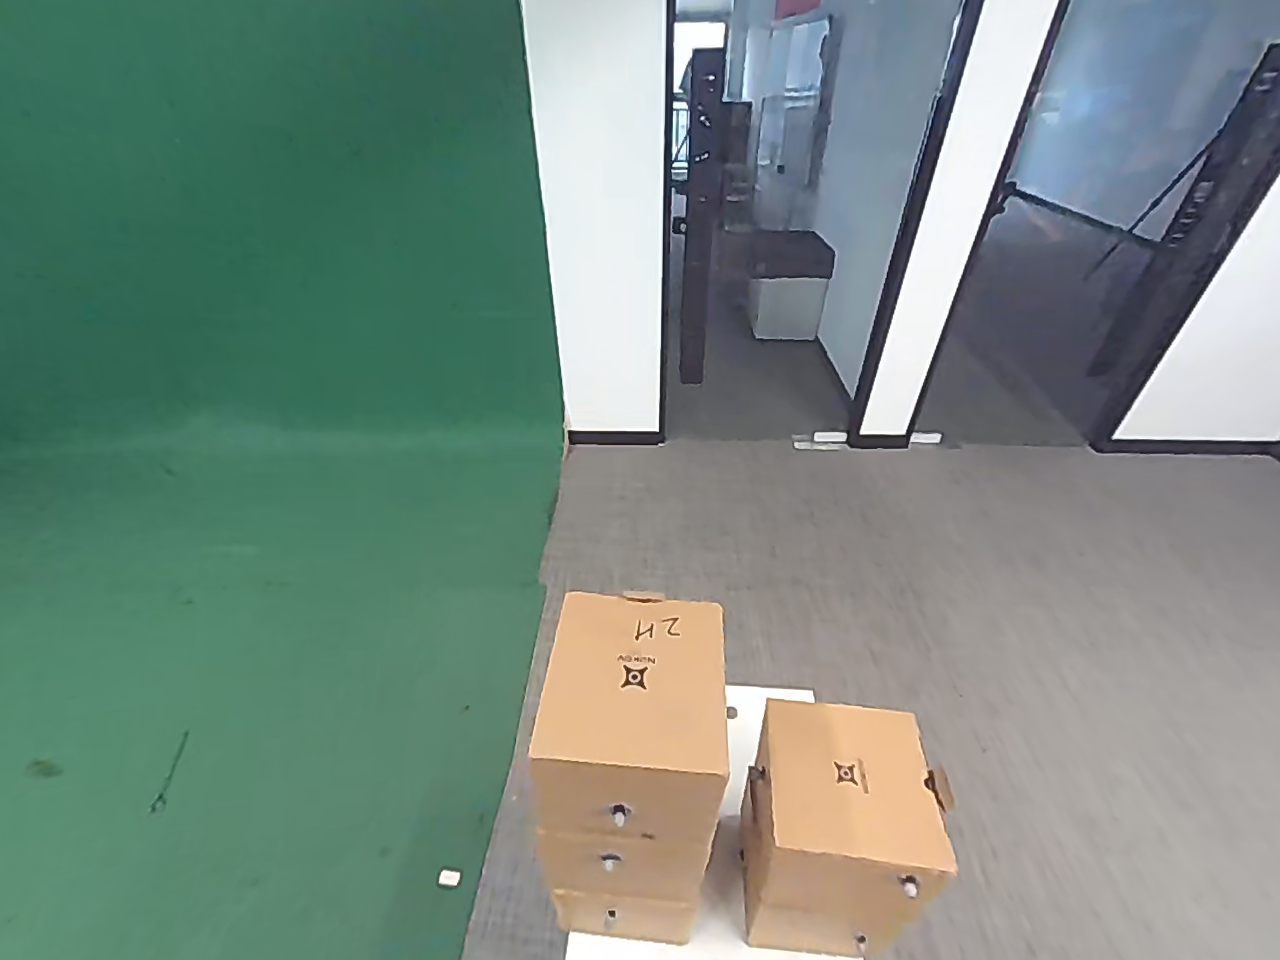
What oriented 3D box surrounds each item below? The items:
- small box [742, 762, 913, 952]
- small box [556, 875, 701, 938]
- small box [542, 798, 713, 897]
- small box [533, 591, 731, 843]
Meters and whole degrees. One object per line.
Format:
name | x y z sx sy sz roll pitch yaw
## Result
small box | 0.237 0.512 0.735 0.179 0.176 0.168 1 38 6
small box | -0.009 0.503 0.747 0.179 0.176 0.168 4 39 3
small box | -0.008 0.371 0.648 0.179 0.176 0.168 4 38 3
small box | -0.001 0.239 0.549 0.168 0.176 0.179 4 38 3
